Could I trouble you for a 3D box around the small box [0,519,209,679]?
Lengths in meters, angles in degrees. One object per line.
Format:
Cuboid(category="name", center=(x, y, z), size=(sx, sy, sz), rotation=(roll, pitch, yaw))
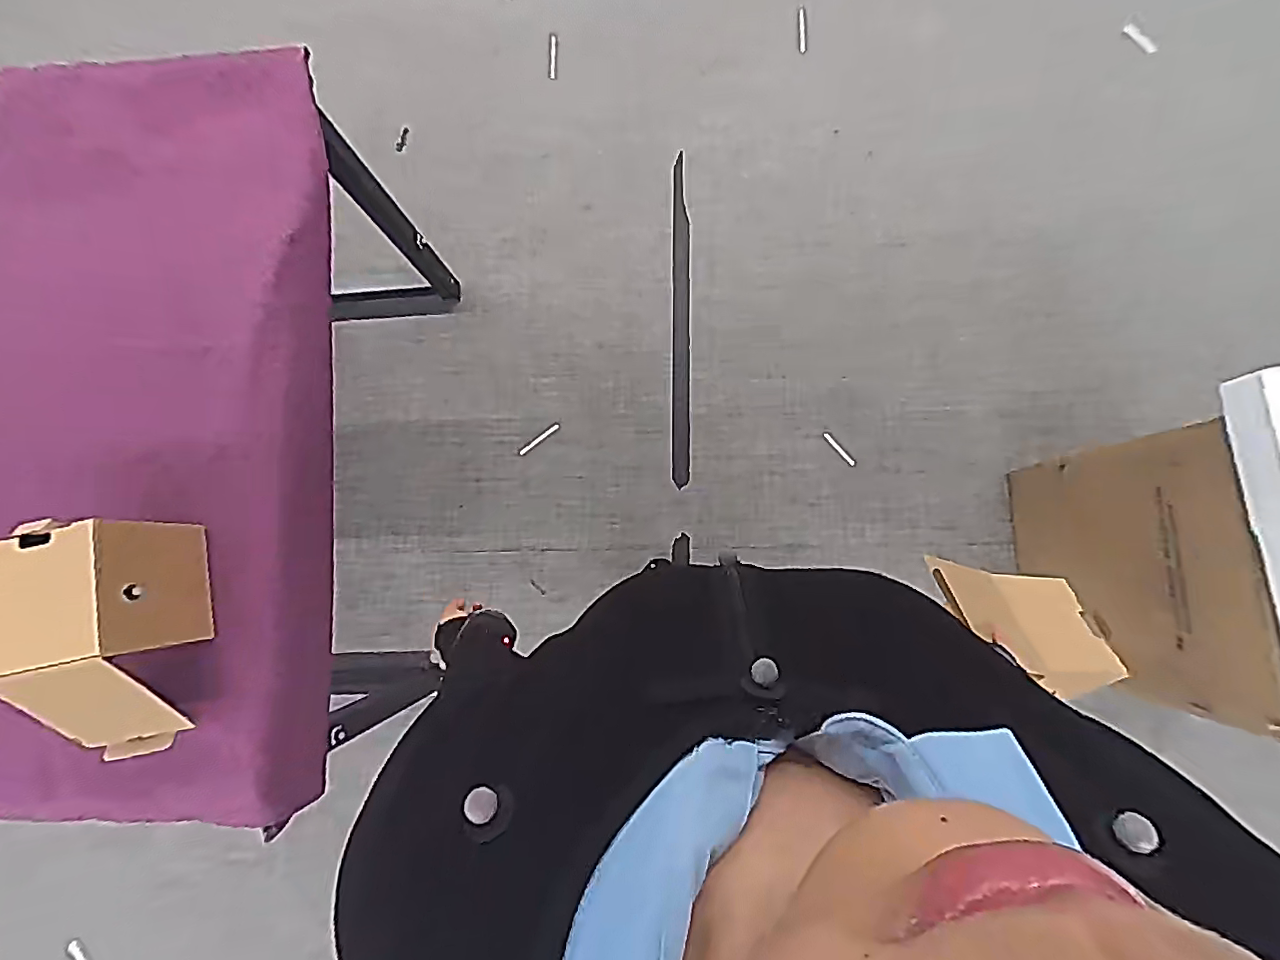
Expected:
Cuboid(category="small box", center=(-0.741, 0.157, 0.747), size=(0.168, 0.176, 0.179), rotation=(-11, 81, 2))
